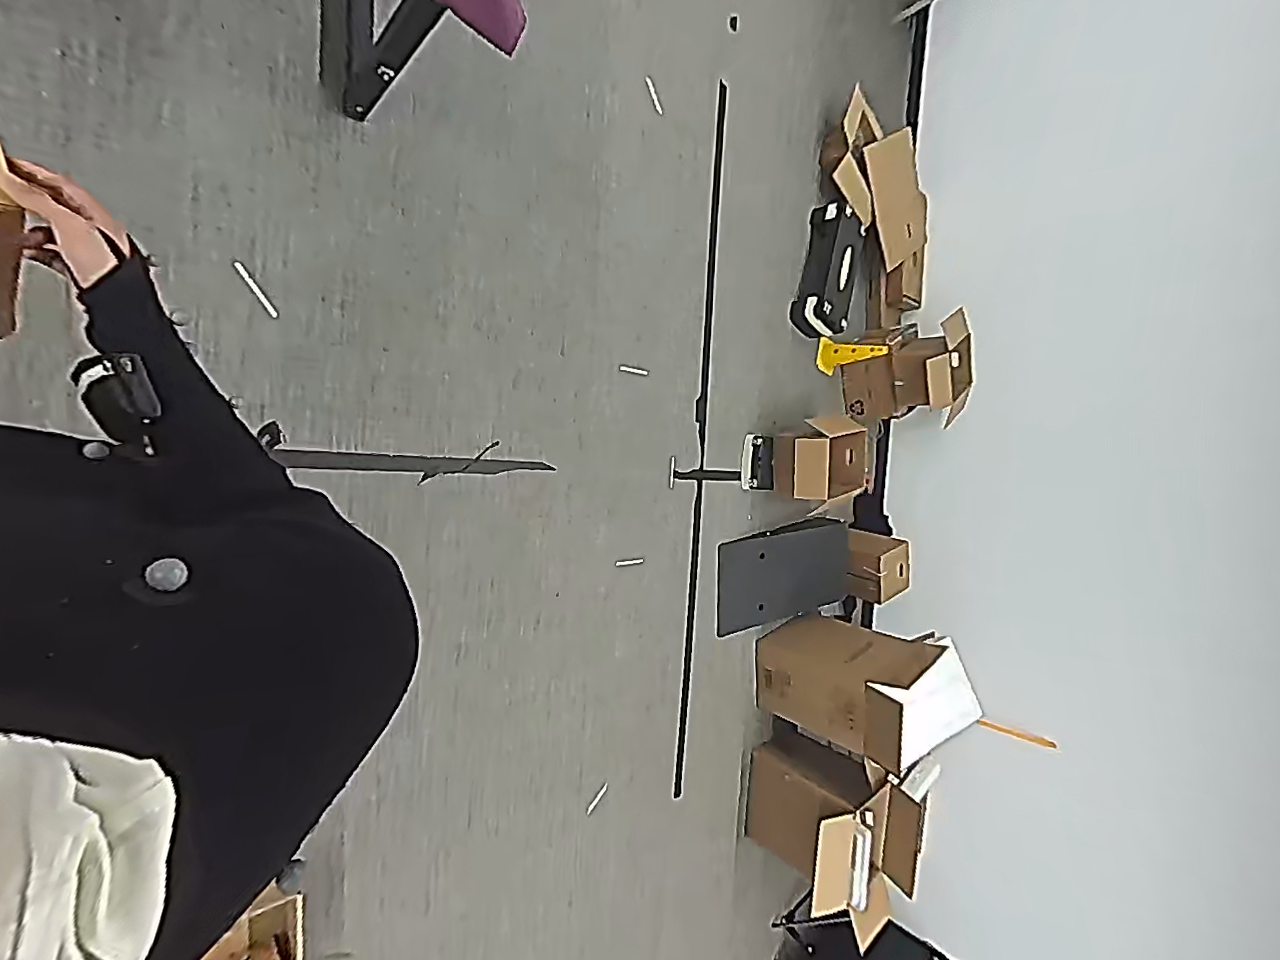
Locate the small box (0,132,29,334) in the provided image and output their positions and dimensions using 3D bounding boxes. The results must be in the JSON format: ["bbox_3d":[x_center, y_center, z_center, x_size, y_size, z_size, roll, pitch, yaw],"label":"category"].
[{"bbox_3d":[-0.641,-0.241,0.433,0.168,0.176,0.179,-15,72,-56],"label":"small box"}]
